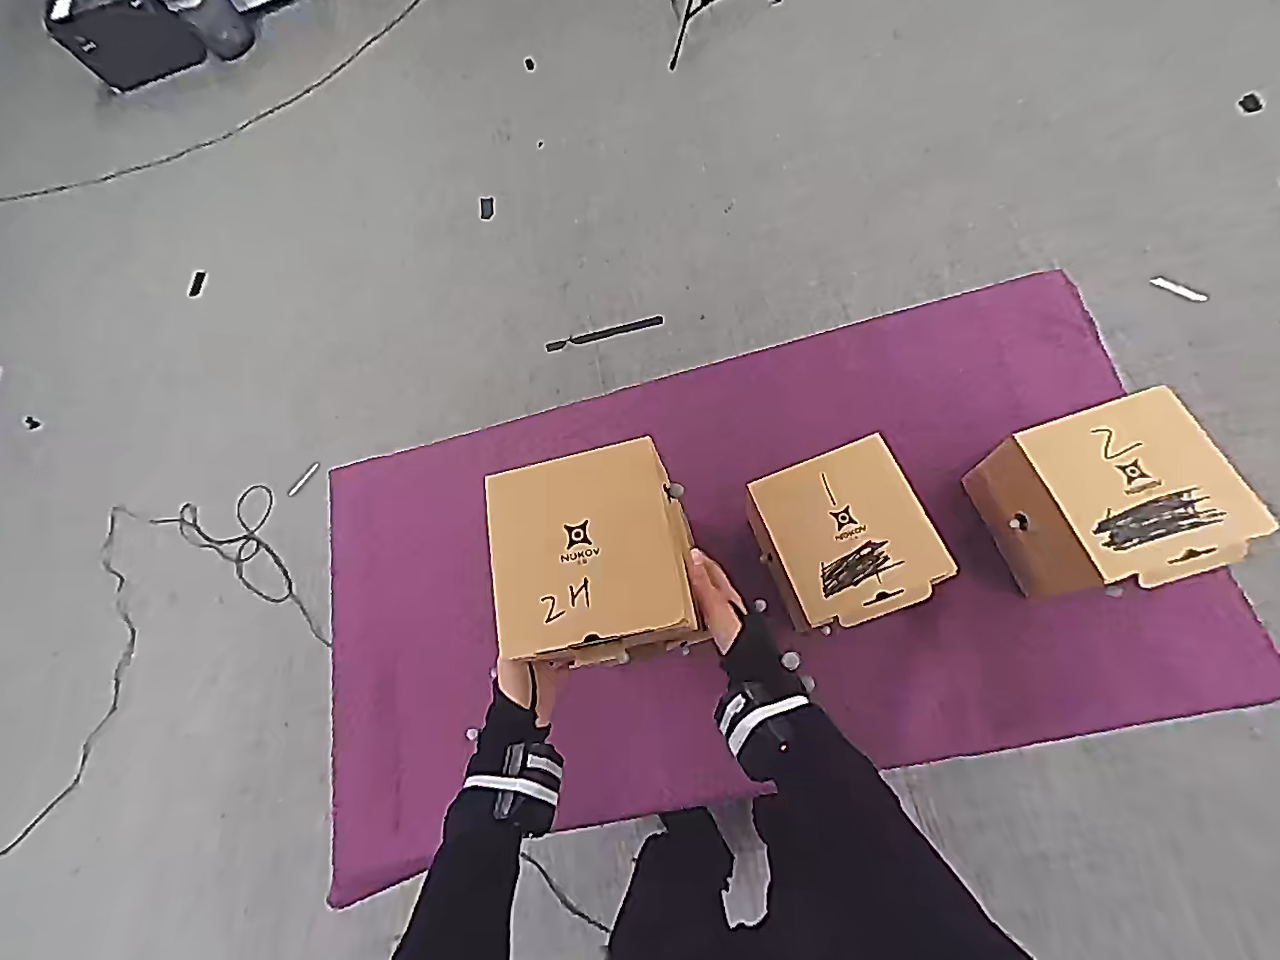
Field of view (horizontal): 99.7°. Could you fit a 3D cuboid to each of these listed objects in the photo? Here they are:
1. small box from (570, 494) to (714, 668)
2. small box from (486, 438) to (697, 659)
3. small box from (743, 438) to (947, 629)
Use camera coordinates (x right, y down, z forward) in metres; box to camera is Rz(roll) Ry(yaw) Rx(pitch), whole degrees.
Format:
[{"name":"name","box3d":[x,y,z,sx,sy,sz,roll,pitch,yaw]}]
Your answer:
[{"name":"small box","box3d":[-0.005,0.137,0.709,0.168,0.176,0.179,-16,69,6]},{"name":"small box","box3d":[-0.042,0.082,0.558,0.168,0.176,0.179,-13,70,7]},{"name":"small box","box3d":[0.239,0.078,0.677,0.168,0.176,0.179,-21,69,4]}]
